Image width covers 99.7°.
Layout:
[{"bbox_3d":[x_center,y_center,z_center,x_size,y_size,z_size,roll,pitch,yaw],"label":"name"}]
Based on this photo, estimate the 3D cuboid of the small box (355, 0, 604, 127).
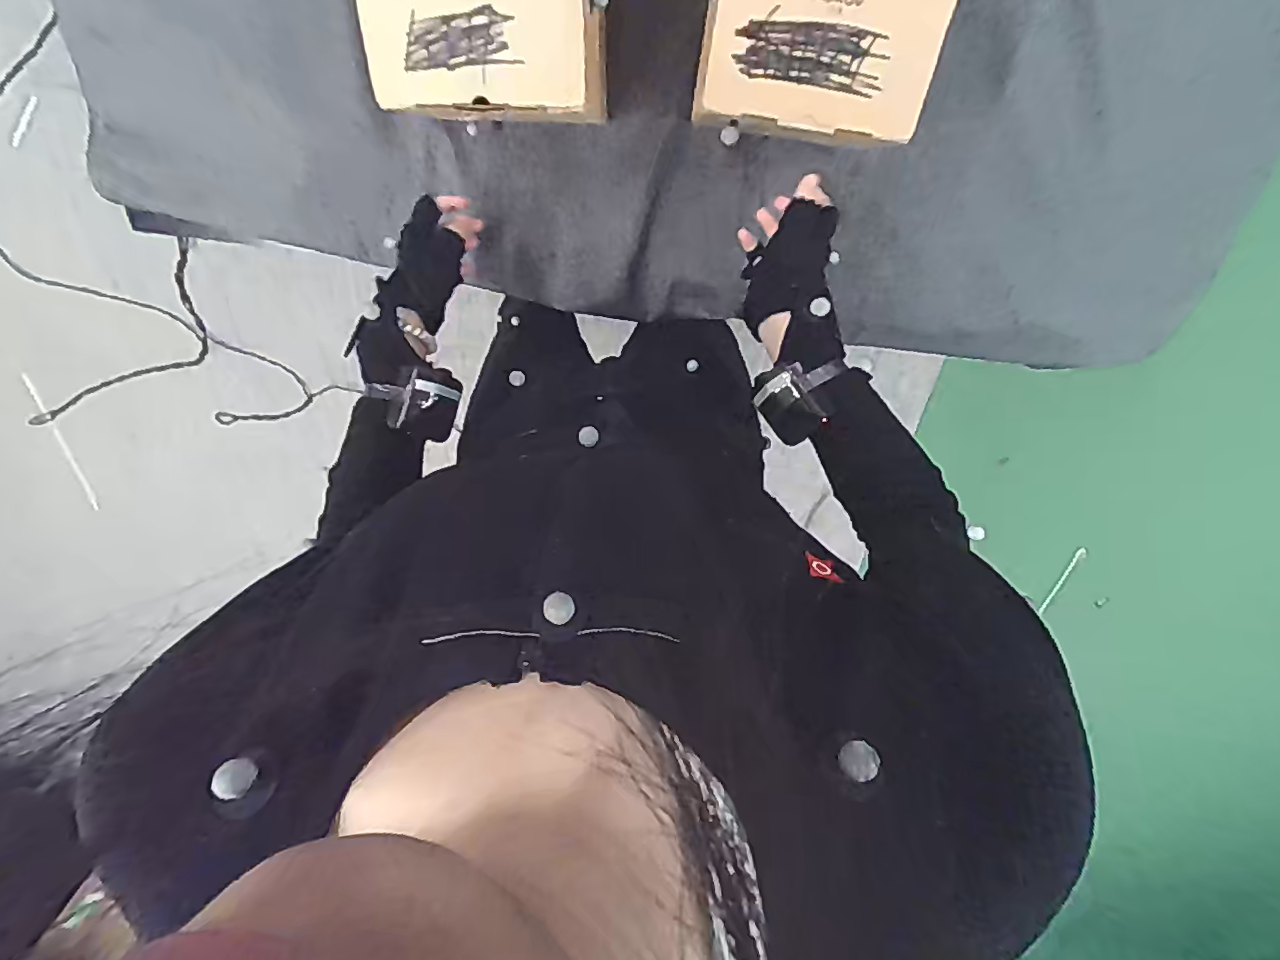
[{"bbox_3d":[-0.119,-0.399,0.444,0.168,0.176,0.179,2,120,1],"label":"small box"}]
